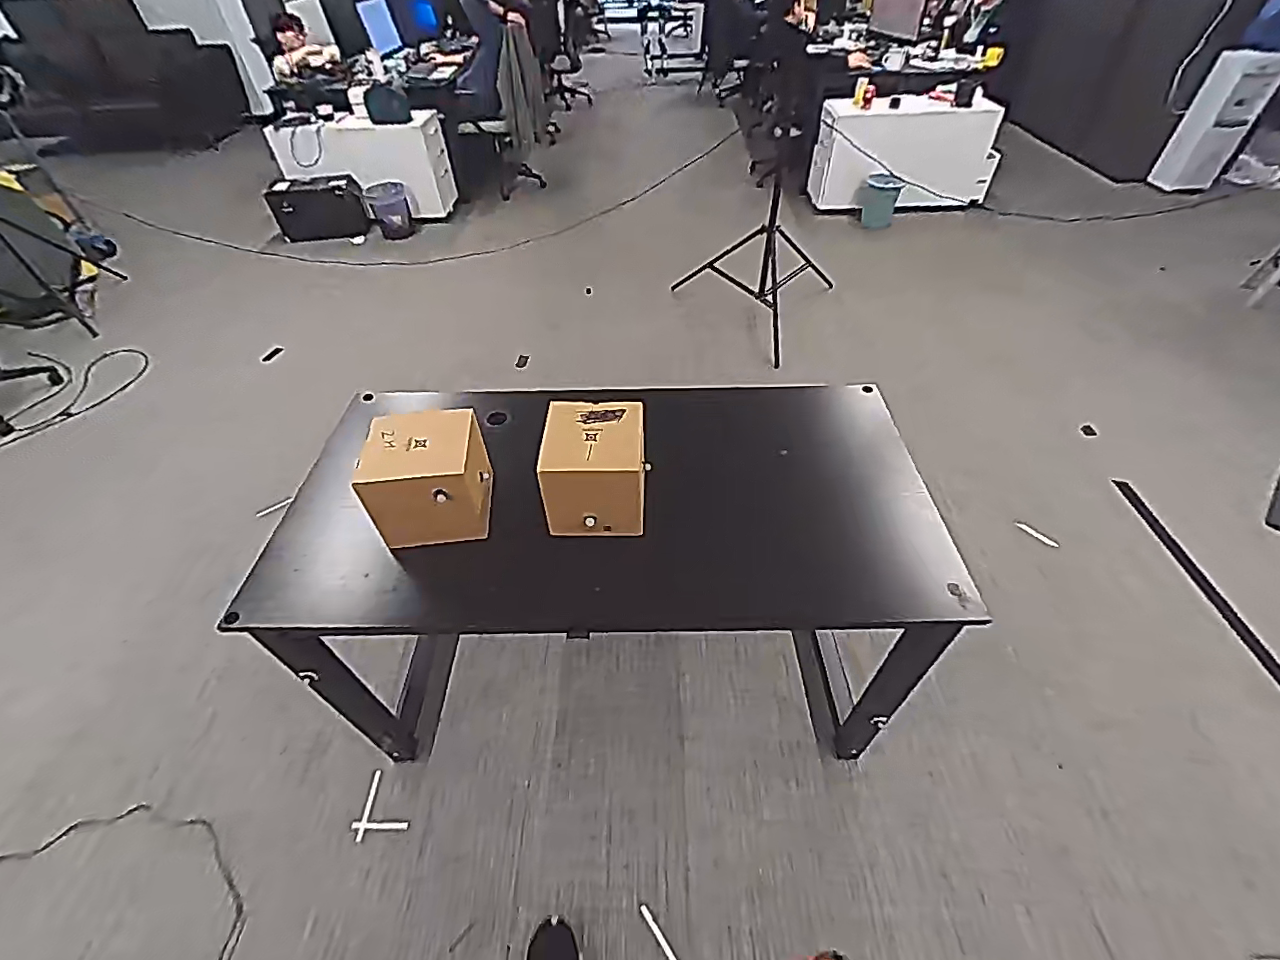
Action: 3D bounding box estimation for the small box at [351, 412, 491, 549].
[{"bbox_3d":[-0.370,0.003,0.956,0.179,0.176,0.168,-6,46,-4],"label":"small box"}]

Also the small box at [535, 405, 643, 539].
[{"bbox_3d":[-0.081,-0.015,0.964,0.168,0.176,0.179,0,47,2],"label":"small box"}]
